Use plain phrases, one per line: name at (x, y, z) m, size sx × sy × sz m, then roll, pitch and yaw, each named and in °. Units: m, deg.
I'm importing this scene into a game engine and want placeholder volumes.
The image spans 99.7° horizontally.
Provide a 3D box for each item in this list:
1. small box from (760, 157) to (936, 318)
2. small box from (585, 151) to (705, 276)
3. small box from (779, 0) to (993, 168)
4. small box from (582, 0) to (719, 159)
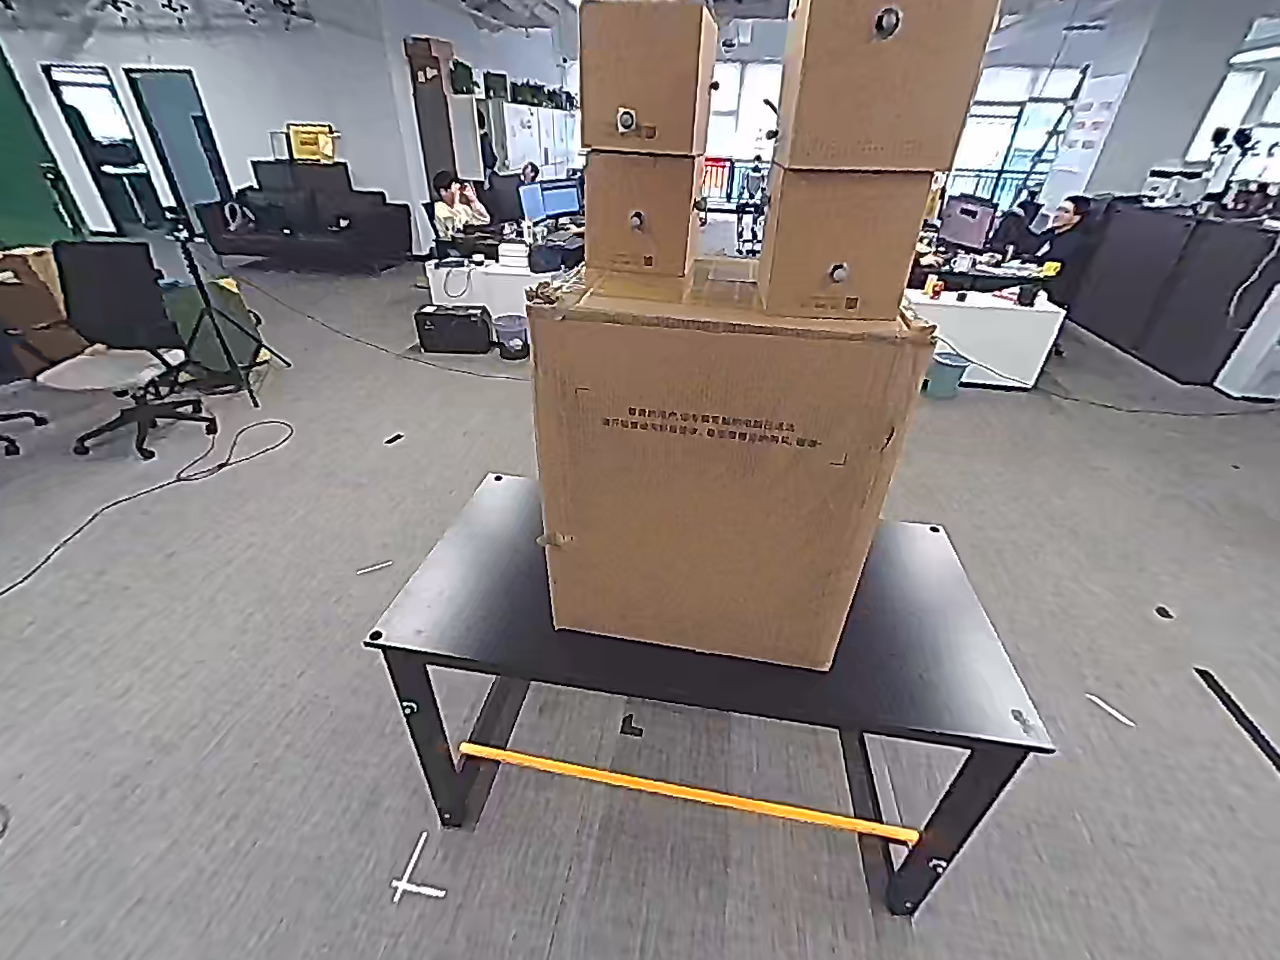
small box at (0.255, -0.323, 0.712) m, size 0.168 × 0.176 × 0.179 m, roll 3°, pitch 33°, yaw 6°
small box at (0.012, -0.442, 0.889) m, size 0.168 × 0.176 × 0.179 m, roll 8°, pitch 33°, yaw 7°
small box at (0.256, -0.448, 0.602) m, size 0.179 × 0.176 × 0.168 m, roll 3°, pitch 34°, yaw 4°
small box at (0.018, -0.572, 0.788) m, size 0.168 × 0.176 × 0.179 m, roll 7°, pitch 33°, yaw 9°
